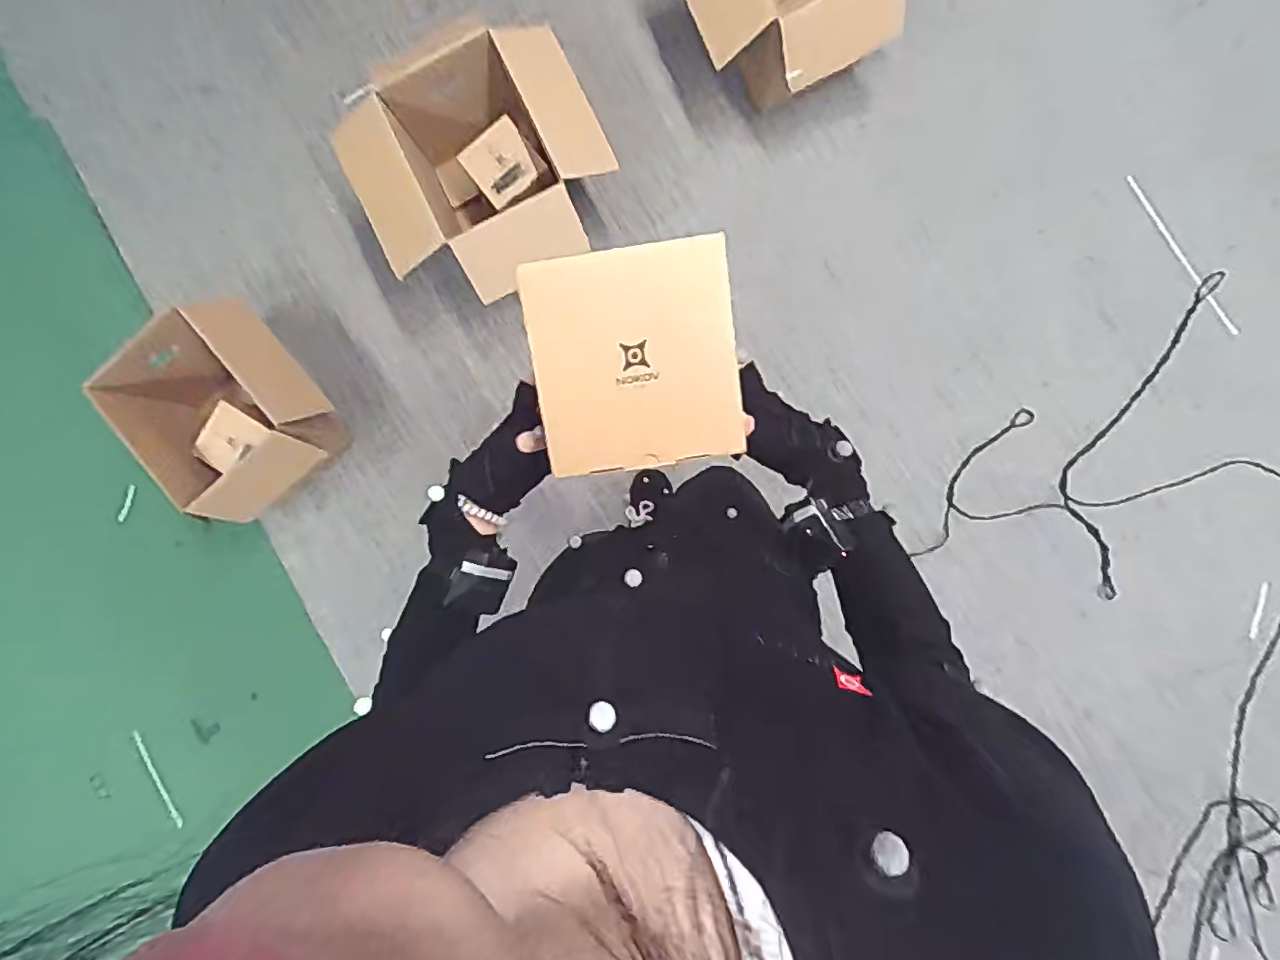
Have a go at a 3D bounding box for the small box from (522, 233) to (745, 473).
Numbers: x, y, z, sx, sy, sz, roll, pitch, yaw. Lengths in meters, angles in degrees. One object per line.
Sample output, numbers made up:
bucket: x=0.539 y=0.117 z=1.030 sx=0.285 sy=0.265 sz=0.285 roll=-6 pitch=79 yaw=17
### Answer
small box: x=-0.004 y=-0.114 z=0.515 sx=0.168 sy=0.176 sz=0.179 roll=-8 pitch=102 yaw=2
